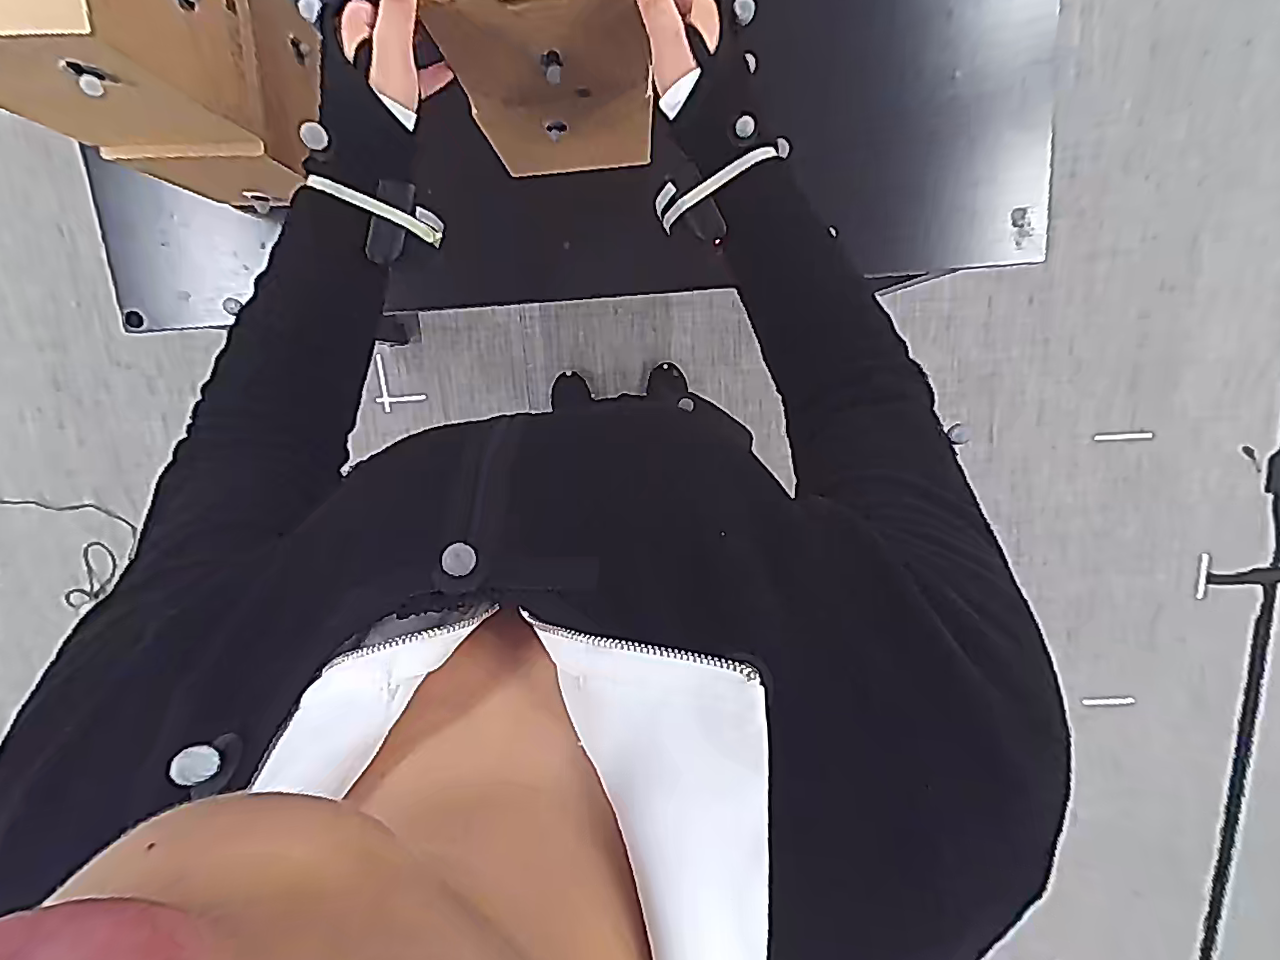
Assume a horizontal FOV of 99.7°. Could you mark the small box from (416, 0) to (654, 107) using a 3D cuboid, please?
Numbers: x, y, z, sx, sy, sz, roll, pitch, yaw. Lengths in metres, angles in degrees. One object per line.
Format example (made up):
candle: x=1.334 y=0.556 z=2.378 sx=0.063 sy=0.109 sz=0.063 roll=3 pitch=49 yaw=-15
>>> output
small box: x=-0.078 y=-0.423 z=0.422 sx=0.168 sy=0.176 sz=0.179 roll=-6 pitch=102 yaw=2

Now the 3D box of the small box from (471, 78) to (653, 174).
small box: x=-0.078 y=-0.450 z=0.583 sx=0.179 sy=0.176 sz=0.168 roll=-5 pitch=101 yaw=1

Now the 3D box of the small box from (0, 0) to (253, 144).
small box: x=-0.448 y=-0.391 z=0.431 sx=0.179 sy=0.176 sz=0.168 roll=-1 pitch=100 yaw=1

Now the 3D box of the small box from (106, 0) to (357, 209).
small box: x=-0.441 y=-0.417 z=0.594 sx=0.168 sy=0.176 sz=0.179 roll=-1 pitch=102 yaw=2
